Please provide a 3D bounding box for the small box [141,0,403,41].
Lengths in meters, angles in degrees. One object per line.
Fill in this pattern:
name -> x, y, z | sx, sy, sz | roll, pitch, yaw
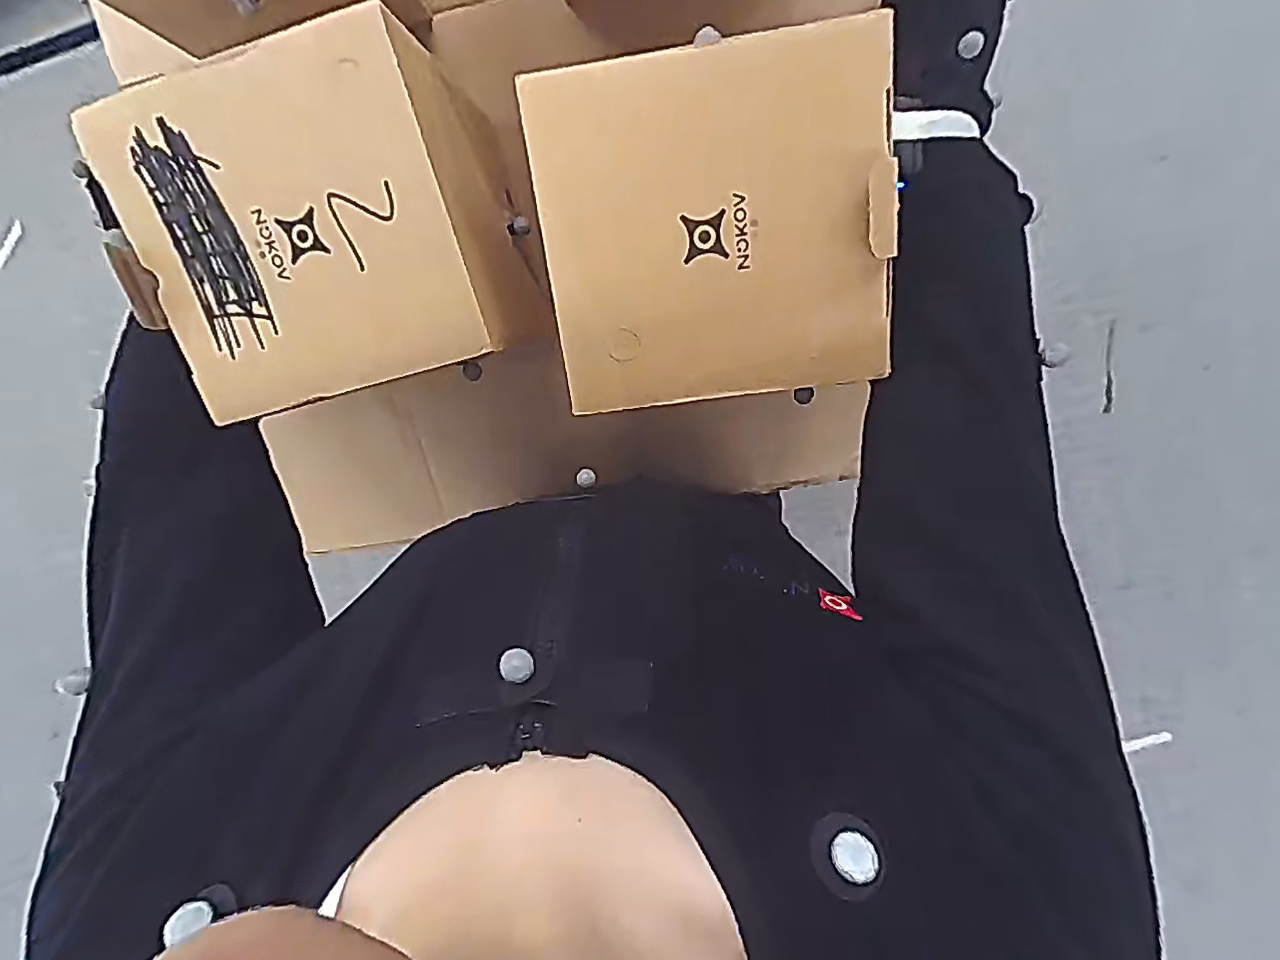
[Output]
small box -> -0.256, -0.389, 0.300 | 0.168, 0.176, 0.179 | -10, 103, 6
